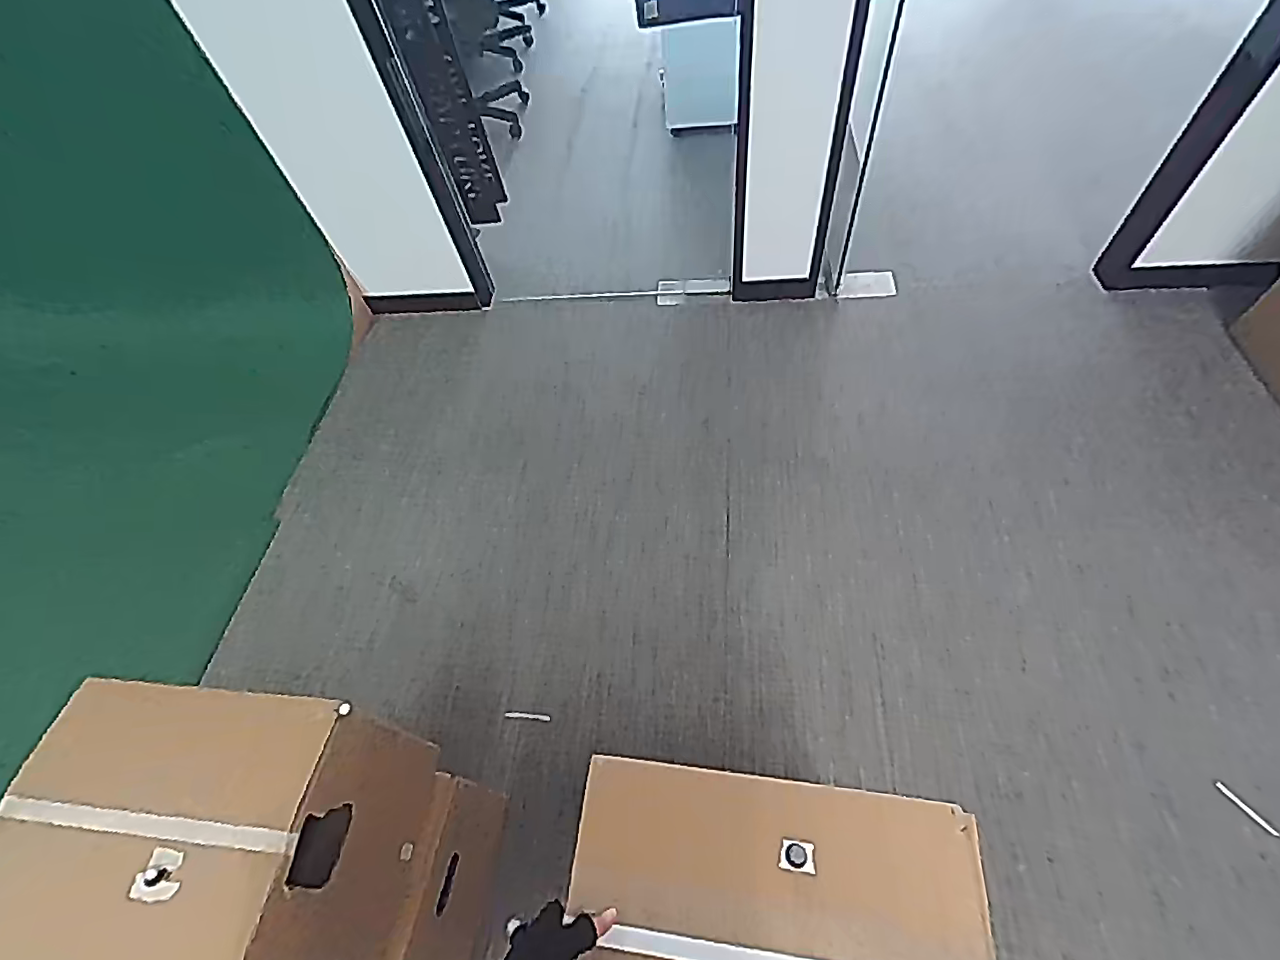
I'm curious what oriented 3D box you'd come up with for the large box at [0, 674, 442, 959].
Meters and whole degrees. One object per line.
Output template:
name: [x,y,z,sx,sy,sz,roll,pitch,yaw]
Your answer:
large box: [-0.570,0.494,0.775,0.408,0.320,0.320,2,54,8]
